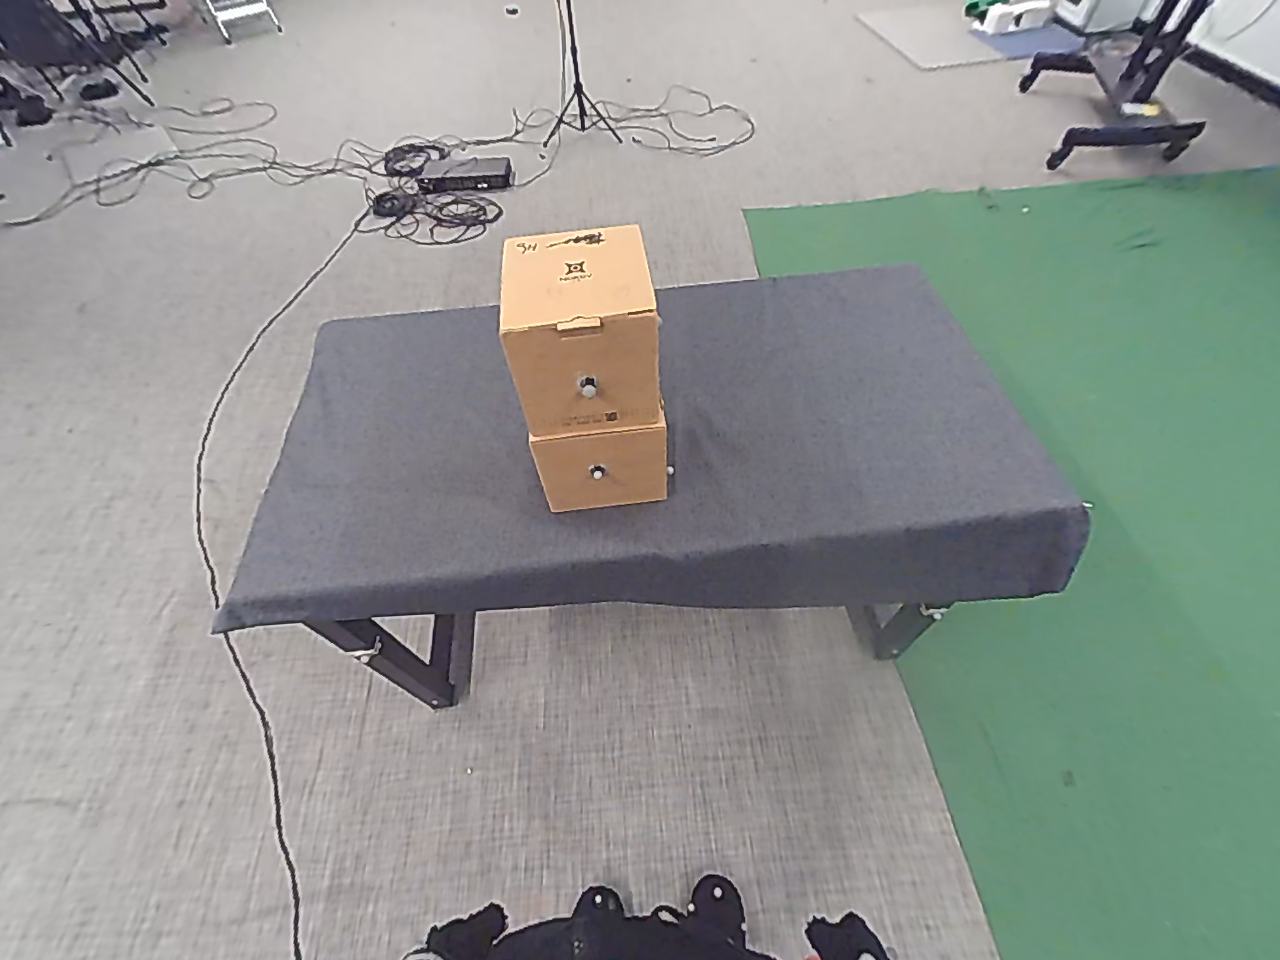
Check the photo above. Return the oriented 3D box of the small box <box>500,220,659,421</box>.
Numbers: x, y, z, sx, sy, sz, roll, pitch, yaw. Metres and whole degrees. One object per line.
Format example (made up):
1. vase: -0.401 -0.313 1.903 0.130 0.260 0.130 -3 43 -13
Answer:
1. small box: -0.067 -0.186 0.665 0.168 0.176 0.179 -7 55 -2

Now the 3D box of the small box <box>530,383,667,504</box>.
1. small box: -0.057 -0.082 0.791 0.179 0.176 0.168 -7 55 -1
